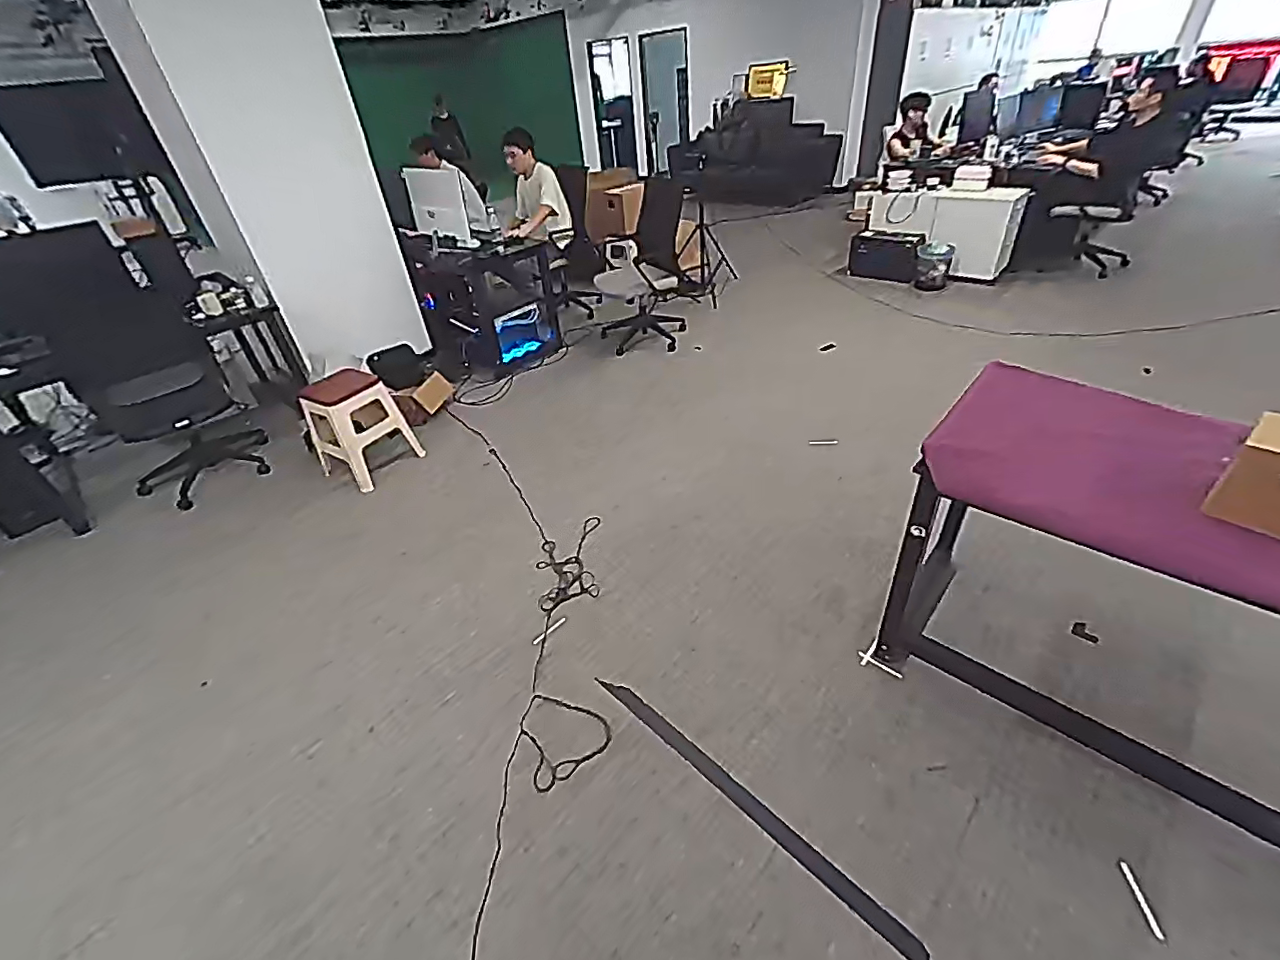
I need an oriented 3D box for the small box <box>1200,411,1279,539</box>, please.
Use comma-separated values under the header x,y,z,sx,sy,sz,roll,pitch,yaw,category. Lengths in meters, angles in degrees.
x,y,z,sx,sy,sz,roll,pitch,yaw,category
1.228,-0.003,1.023,0.168,0.176,0.179,-30,43,-28,small box
